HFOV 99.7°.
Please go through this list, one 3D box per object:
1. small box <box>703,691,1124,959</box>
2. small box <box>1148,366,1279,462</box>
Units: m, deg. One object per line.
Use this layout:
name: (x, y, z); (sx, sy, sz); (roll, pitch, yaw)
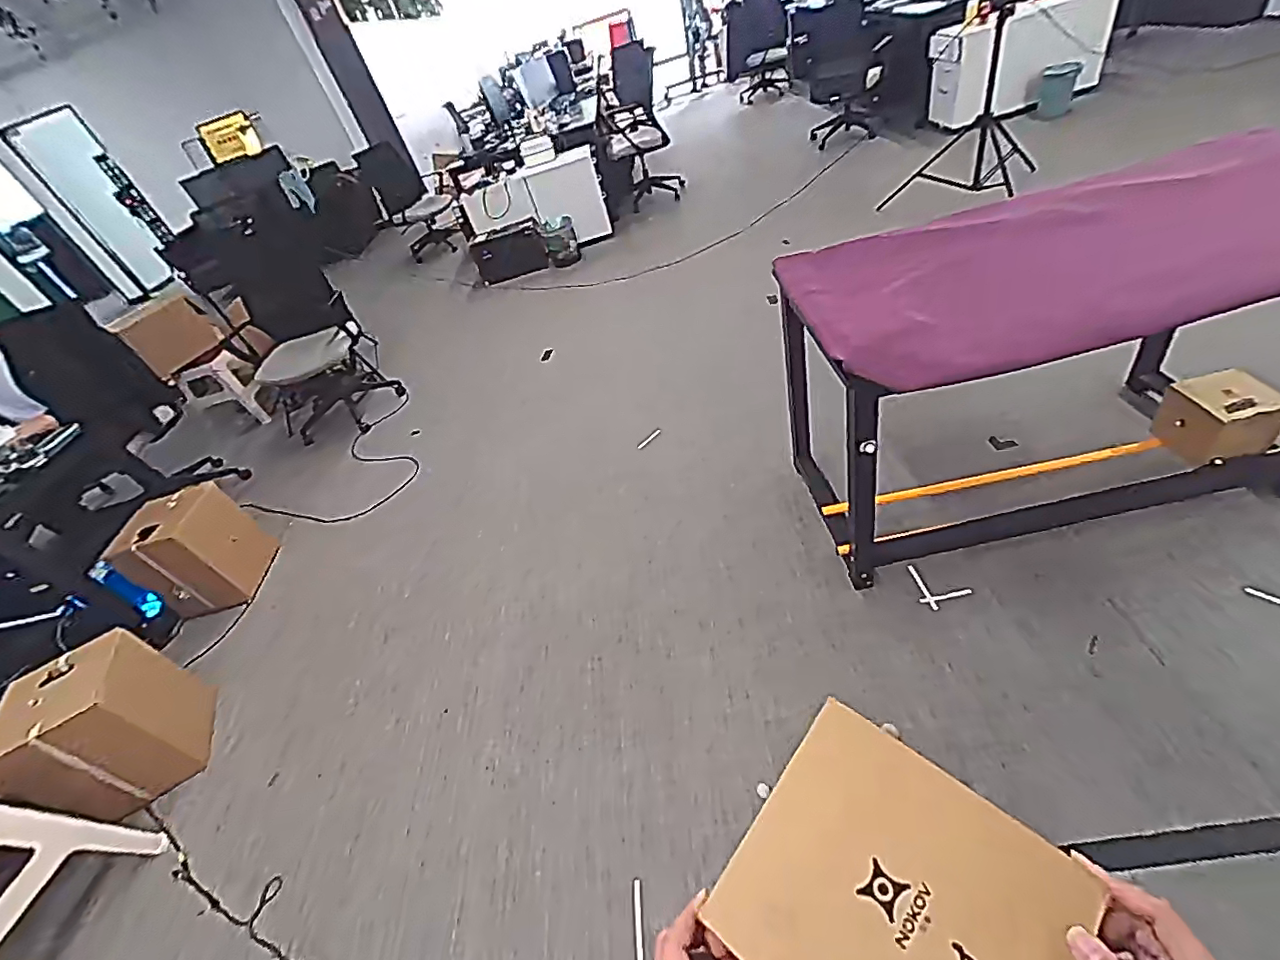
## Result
small box: (0.168, 0.286, 0.378); (0.179, 0.176, 0.168); (30, 69, 30)
small box: (1.504, -0.166, 1.417); (0.168, 0.176, 0.179); (-14, 41, 8)
